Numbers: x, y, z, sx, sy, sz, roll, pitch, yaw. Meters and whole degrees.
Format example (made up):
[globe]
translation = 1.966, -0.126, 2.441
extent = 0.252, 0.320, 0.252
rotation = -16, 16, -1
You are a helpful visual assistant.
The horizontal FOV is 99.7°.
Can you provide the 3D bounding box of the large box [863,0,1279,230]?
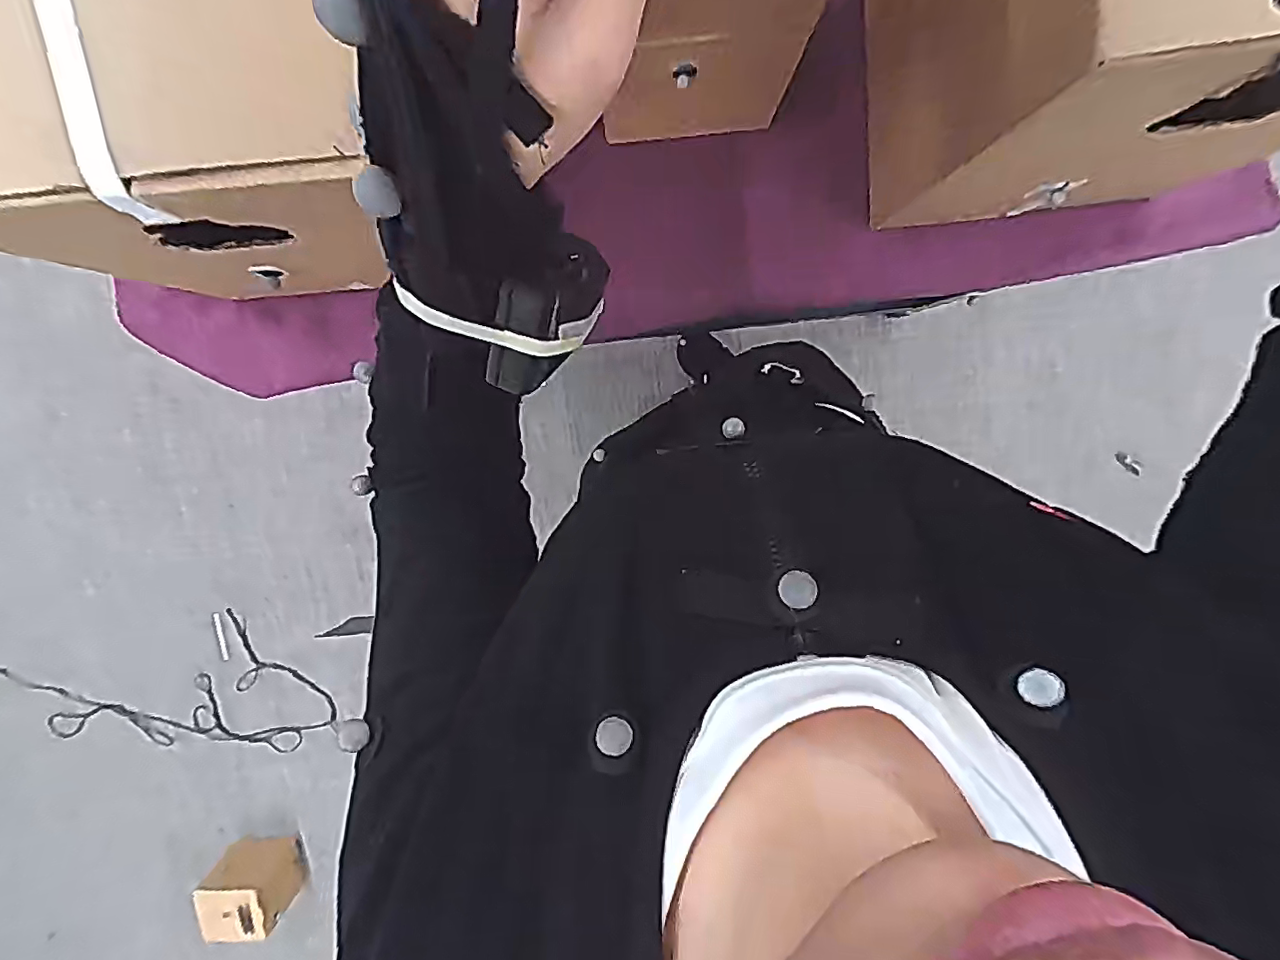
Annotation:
[large box]
translation = 0.376, -0.458, 0.403
extent = 0.320, 0.320, 0.408
rotation = -6, 98, 1
